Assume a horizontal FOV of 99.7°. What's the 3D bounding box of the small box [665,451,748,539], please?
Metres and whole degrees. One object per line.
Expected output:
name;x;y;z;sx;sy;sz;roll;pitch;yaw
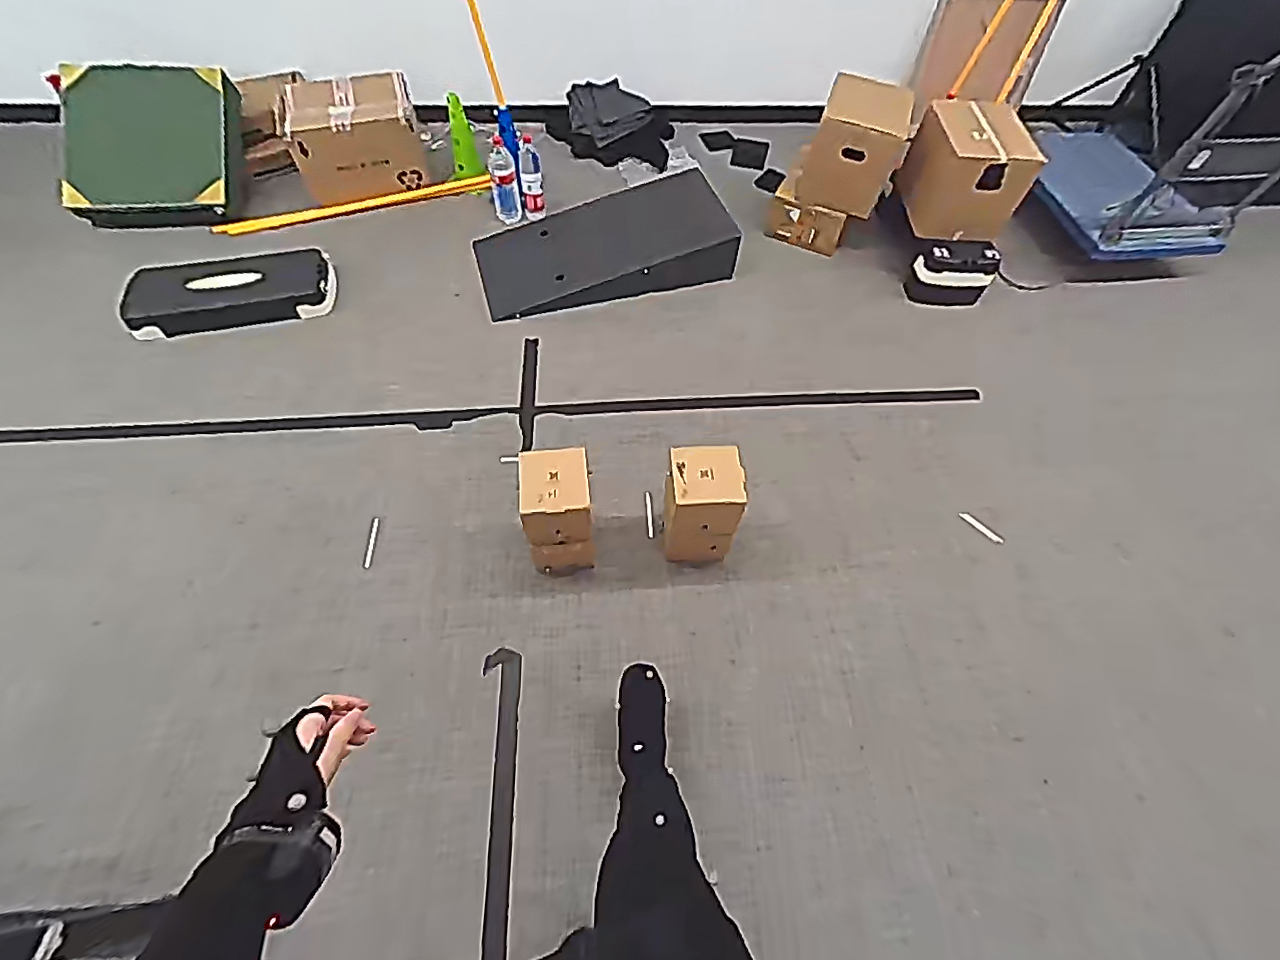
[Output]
small box;0.162;0.041;1.384;0.179;0.176;0.168;0;57;-4

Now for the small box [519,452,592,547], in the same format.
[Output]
small box;-0.210;0.050;1.356;0.168;0.176;0.179;-5;58;-6

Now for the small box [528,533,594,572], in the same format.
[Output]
small box;-0.218;0.144;1.491;0.168;0.176;0.179;-6;58;-7

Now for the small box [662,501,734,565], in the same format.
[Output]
small box;0.156;0.131;1.521;0.179;0.176;0.168;0;58;-2
